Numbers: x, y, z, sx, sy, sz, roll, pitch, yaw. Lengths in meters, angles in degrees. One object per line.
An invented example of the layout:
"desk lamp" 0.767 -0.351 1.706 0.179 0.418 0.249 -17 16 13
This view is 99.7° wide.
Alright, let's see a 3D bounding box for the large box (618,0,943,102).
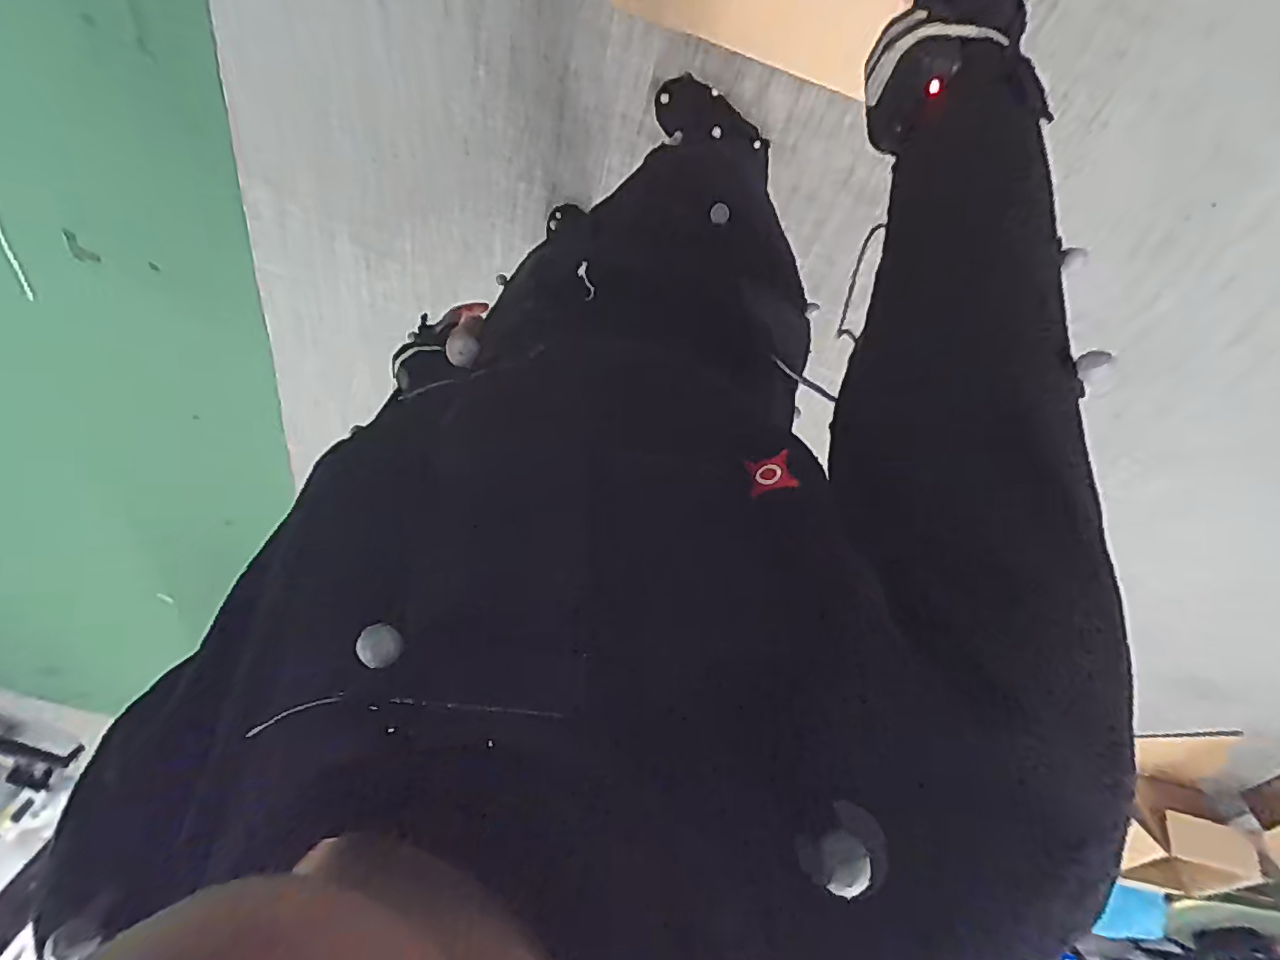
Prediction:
"large box" 0.212 -0.773 0.738 0.408 0.320 0.320 16 131 -6
